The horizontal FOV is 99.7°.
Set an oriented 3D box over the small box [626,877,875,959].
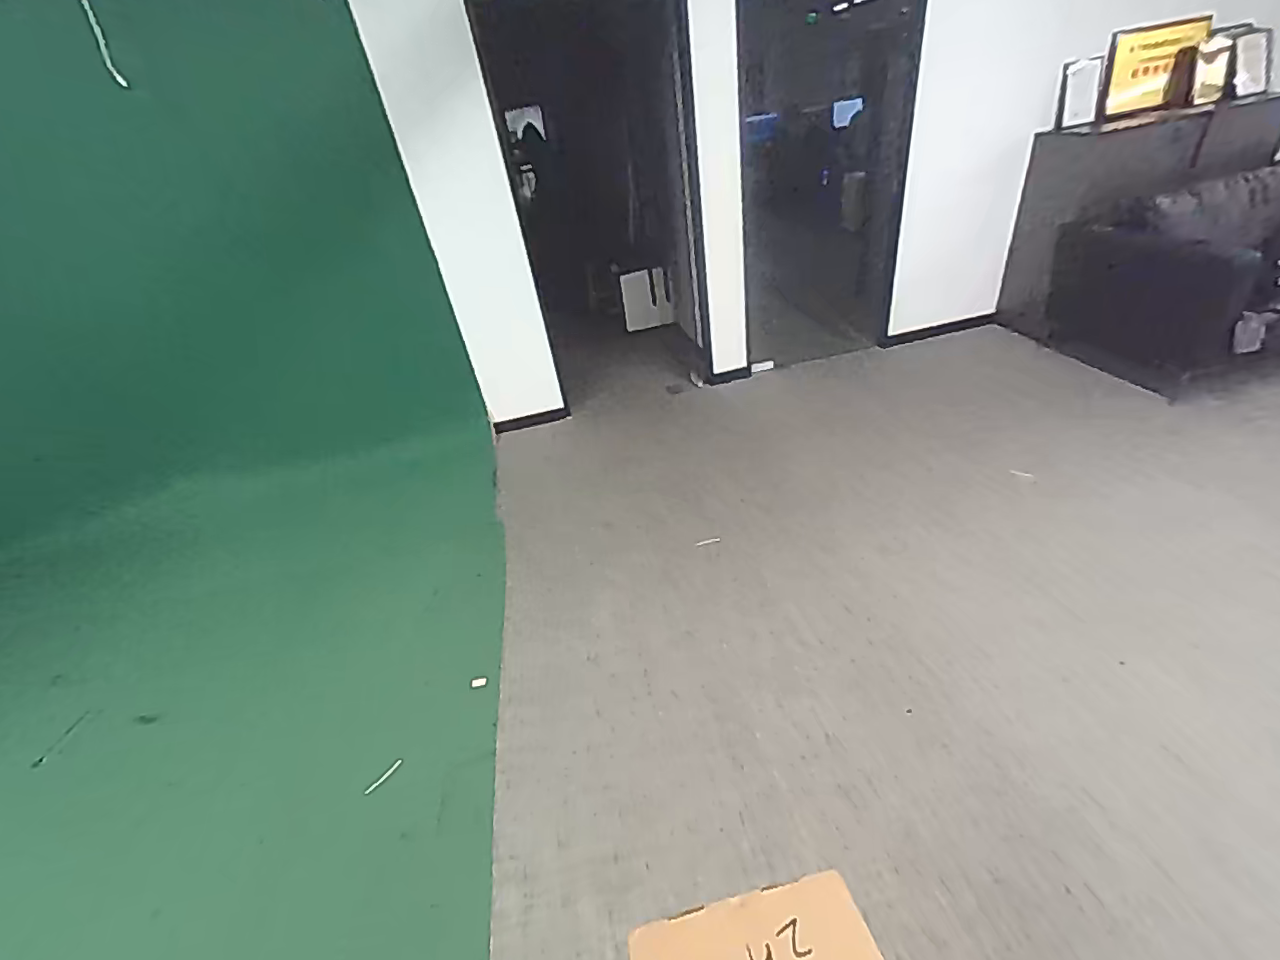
[{"bbox_3d":[0.091,0.419,0.355,0.168,0.176,0.179,-9,23,-7],"label":"small box"}]
